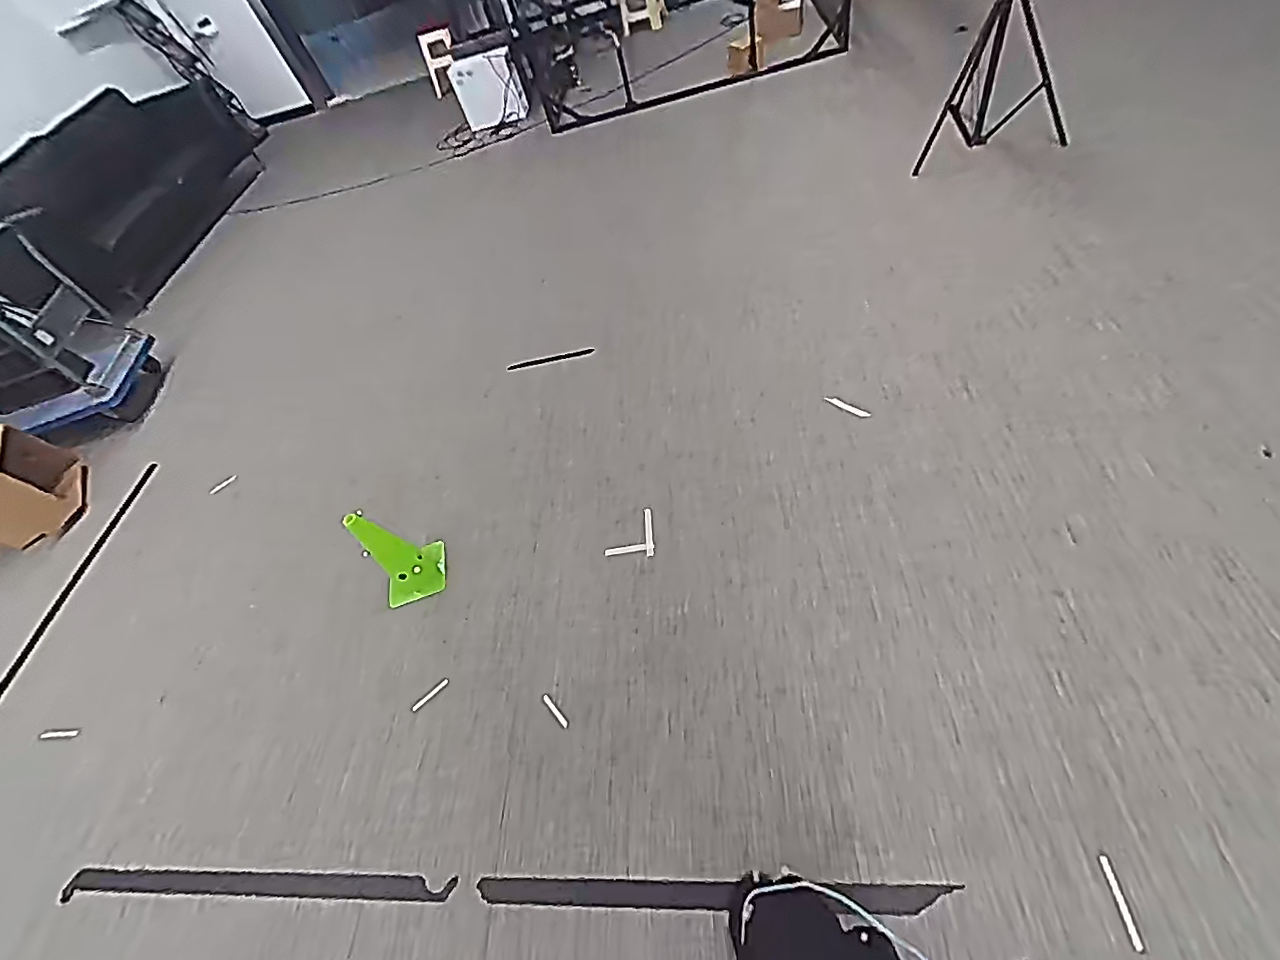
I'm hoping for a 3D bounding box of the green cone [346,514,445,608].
[{"bbox_3d":[-0.793,0.223,1.694,0.202,0.368,0.200,-20,52,0],"label":"green cone"}]
